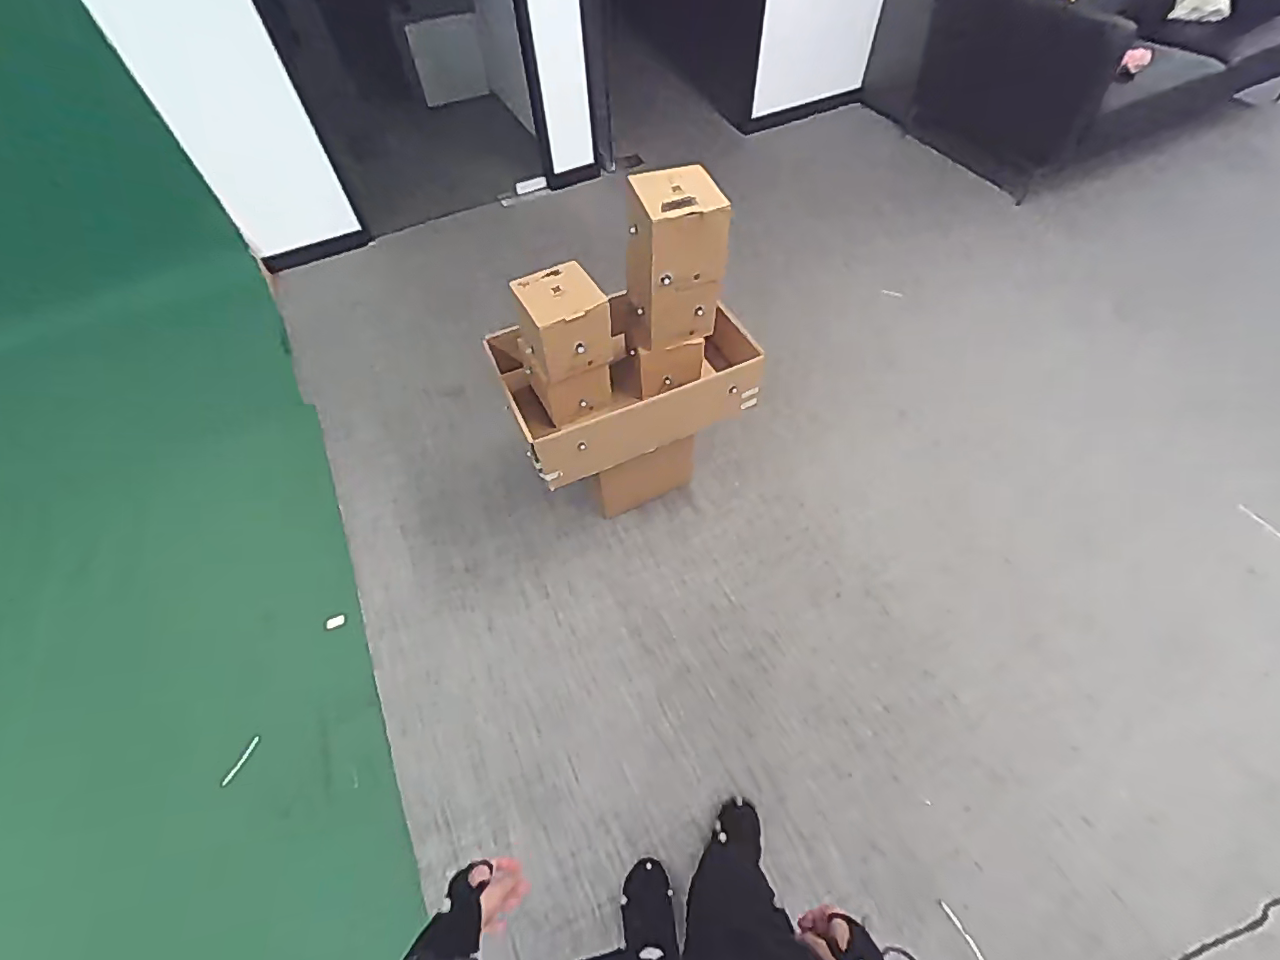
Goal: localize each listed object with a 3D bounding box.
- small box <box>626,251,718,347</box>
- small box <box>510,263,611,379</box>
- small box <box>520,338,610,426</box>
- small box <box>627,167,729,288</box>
[{"bbox_3d":[0.073,-0.438,1.287,0.168,0.176,0.179,-17,57,-11],"label":"small box"},{"bbox_3d":[-0.175,-0.354,1.232,0.168,0.176,0.179,-25,59,-15],"label":"small box"},{"bbox_3d":[-0.187,-0.269,1.372,0.168,0.176,0.179,-25,59,-15],"label":"small box"},{"bbox_3d":[0.076,-0.528,1.151,0.168,0.176,0.179,-14,56,-9],"label":"small box"}]
